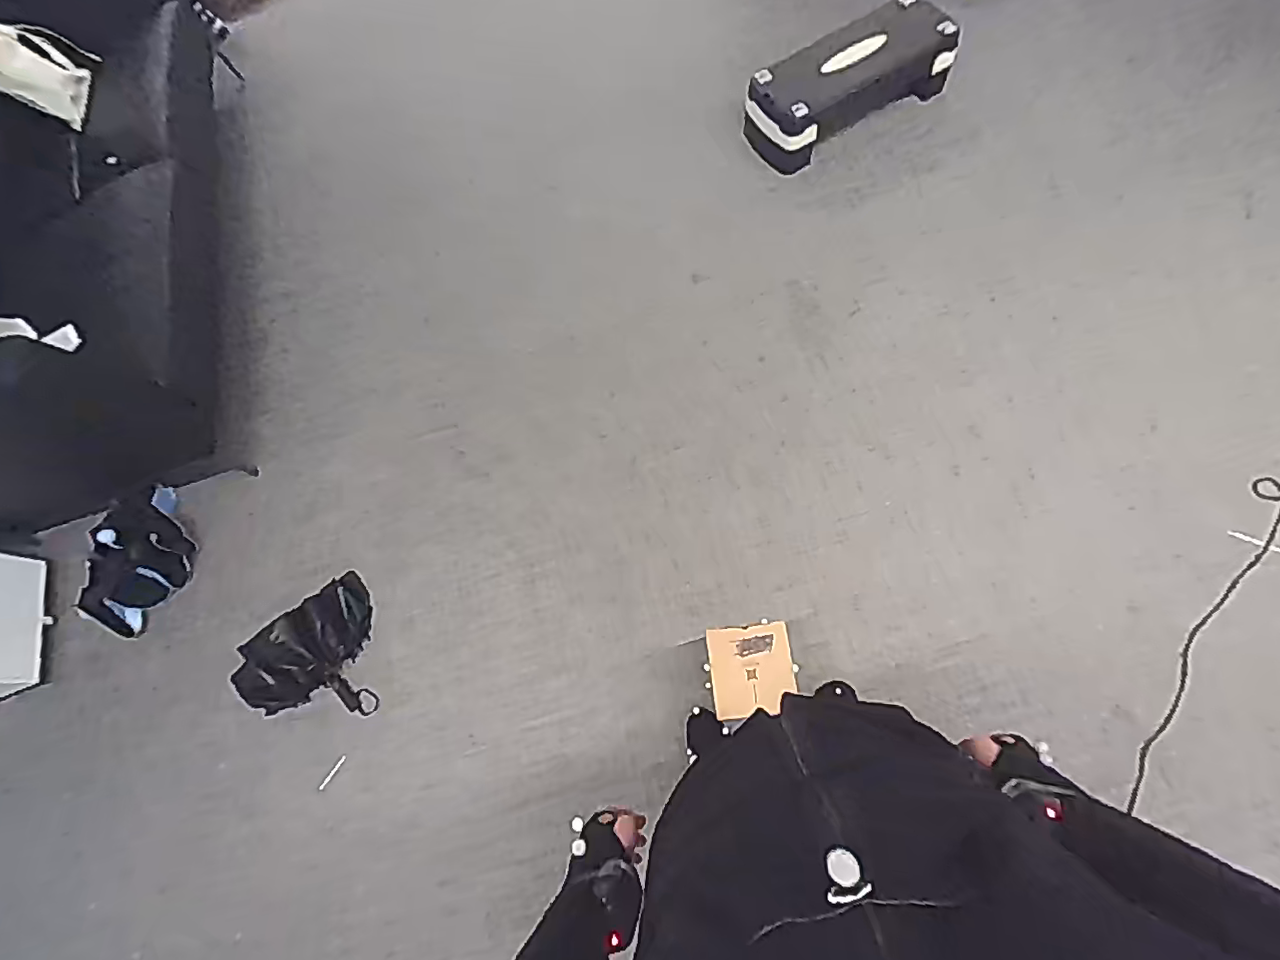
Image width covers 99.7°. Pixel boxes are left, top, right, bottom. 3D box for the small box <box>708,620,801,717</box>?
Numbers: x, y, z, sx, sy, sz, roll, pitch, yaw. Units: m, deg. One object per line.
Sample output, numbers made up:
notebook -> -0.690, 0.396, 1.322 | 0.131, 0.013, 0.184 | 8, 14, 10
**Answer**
small box -> 0.238, 0.402, 1.158 | 0.168, 0.176, 0.179 | -8, 71, 7
